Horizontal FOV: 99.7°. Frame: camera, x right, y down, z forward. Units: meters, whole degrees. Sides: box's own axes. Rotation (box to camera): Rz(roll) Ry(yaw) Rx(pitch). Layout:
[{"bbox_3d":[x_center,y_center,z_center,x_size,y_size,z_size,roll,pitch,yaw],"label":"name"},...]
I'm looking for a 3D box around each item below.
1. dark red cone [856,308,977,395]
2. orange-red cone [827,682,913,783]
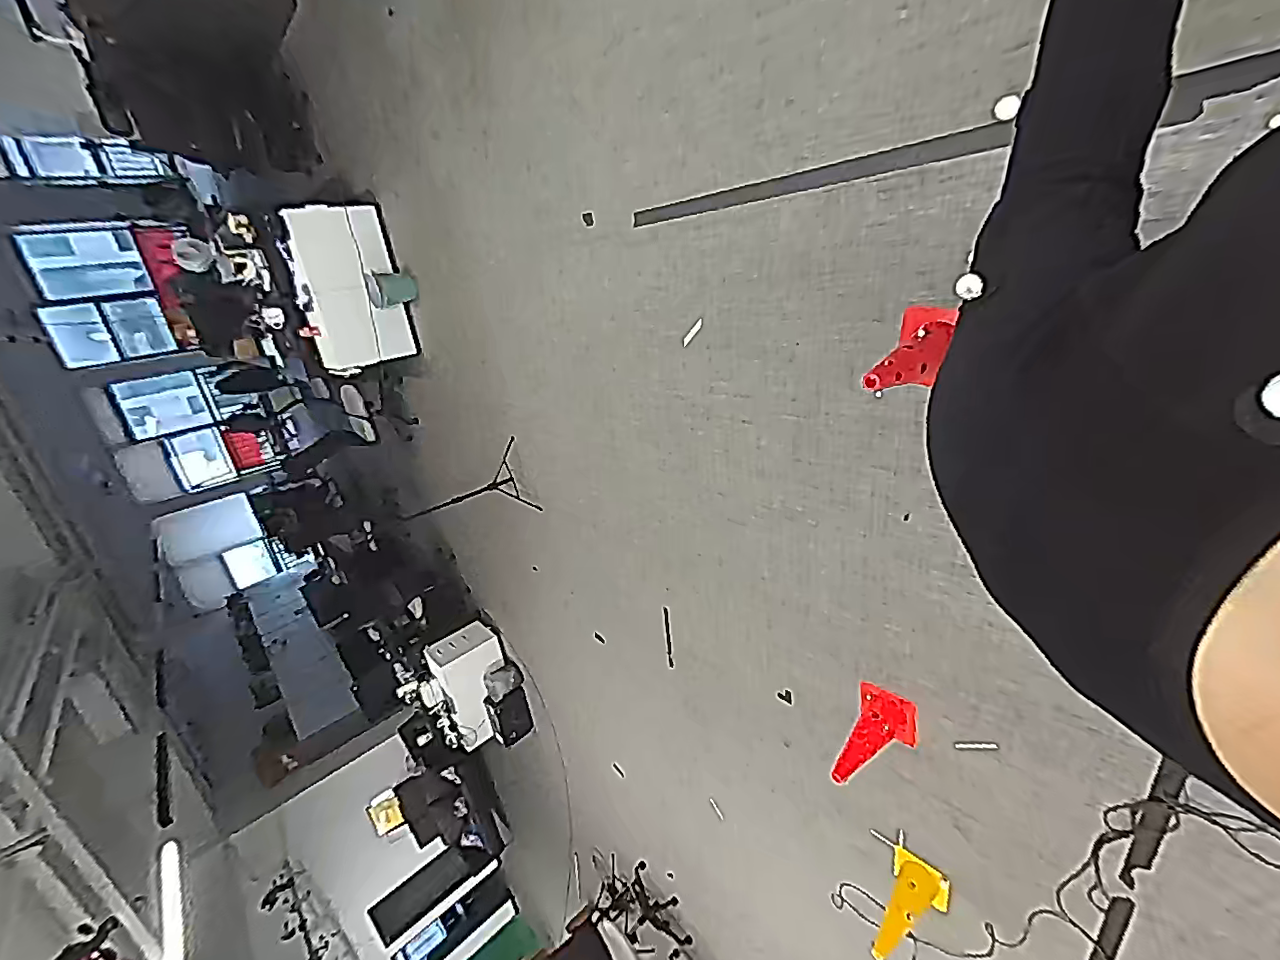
[{"bbox_3d":[0.617,-0.273,1.276,0.201,0.394,0.202,23,127,42],"label":"dark red cone"},{"bbox_3d":[0.748,0.895,1.831,0.198,0.360,0.199,15,123,48],"label":"orange-red cone"}]
